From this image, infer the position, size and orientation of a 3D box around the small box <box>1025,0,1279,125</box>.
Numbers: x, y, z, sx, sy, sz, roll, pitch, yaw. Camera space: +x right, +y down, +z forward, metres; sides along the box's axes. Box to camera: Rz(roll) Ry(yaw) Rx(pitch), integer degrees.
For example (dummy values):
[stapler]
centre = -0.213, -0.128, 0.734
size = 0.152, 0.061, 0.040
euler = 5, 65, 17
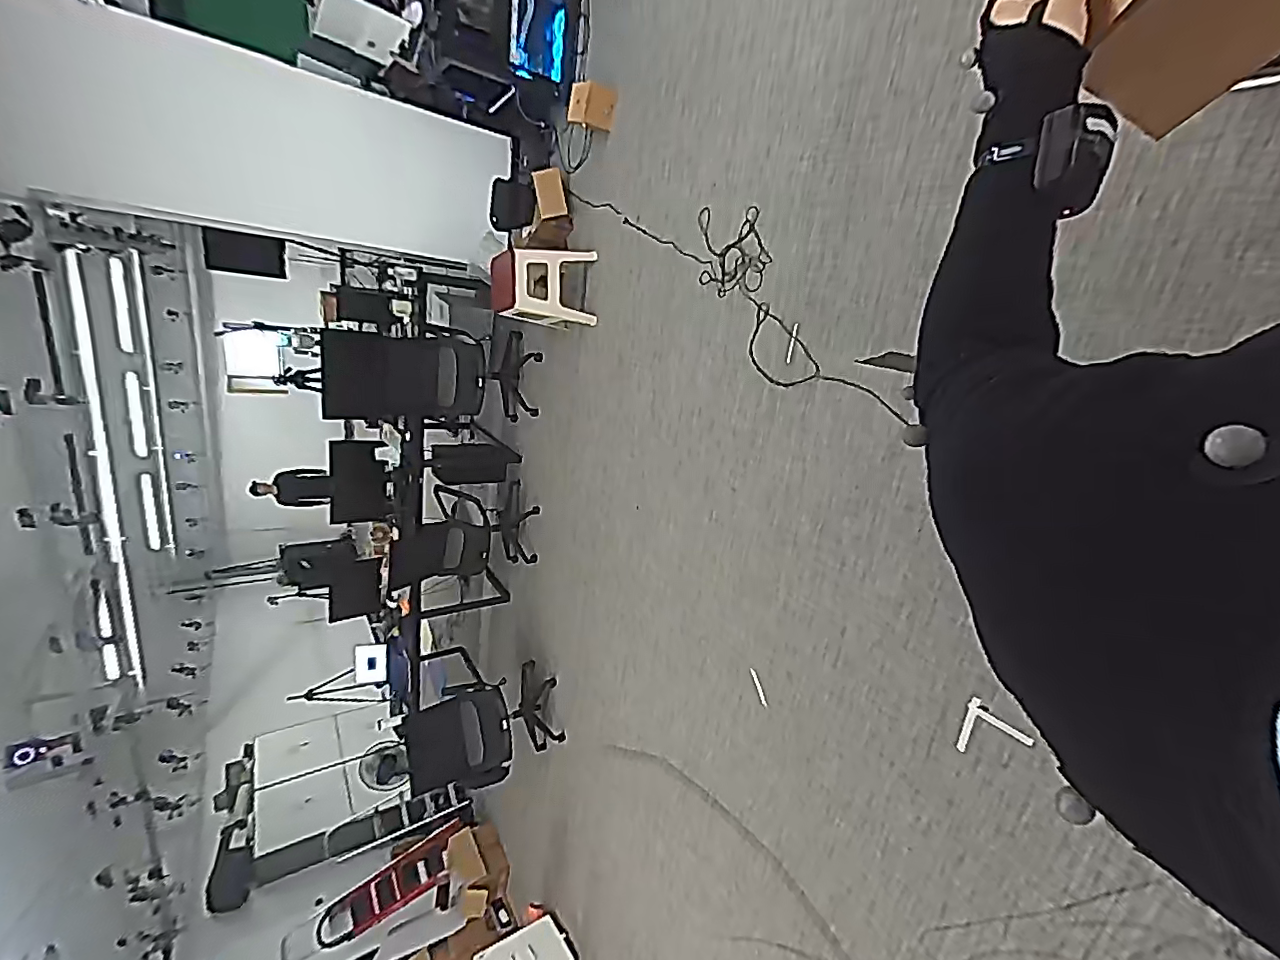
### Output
[small box]
centre = 0.434, -0.432, 0.422
size = 0.179, 0.176, 0.168
euler = -39, 53, 56
